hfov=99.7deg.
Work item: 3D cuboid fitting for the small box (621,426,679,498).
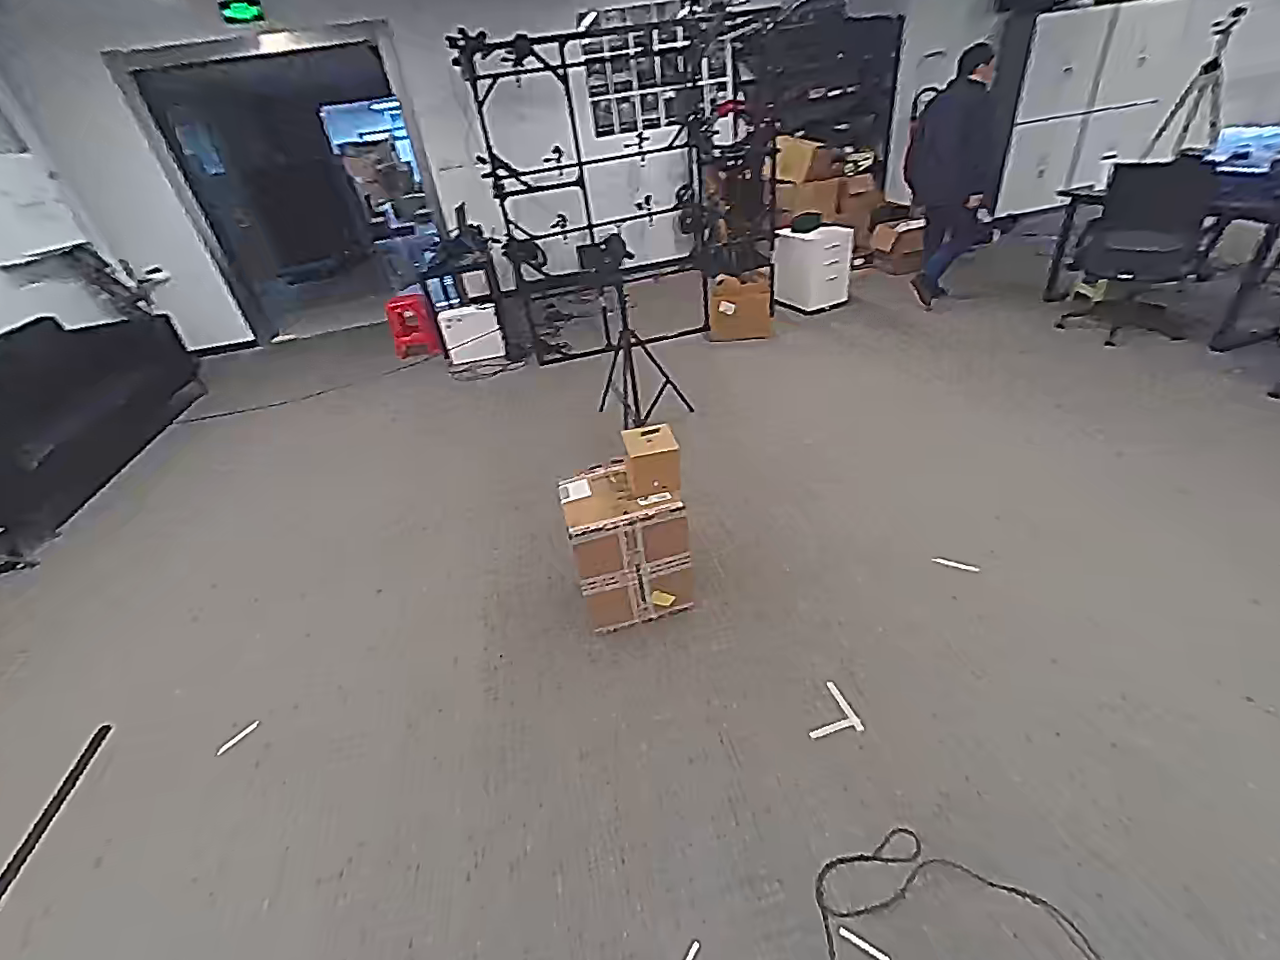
[{"bbox_3d":[0.033,-0.063,1.852,0.168,0.176,0.179,-11,36,-7],"label":"small box"}]
